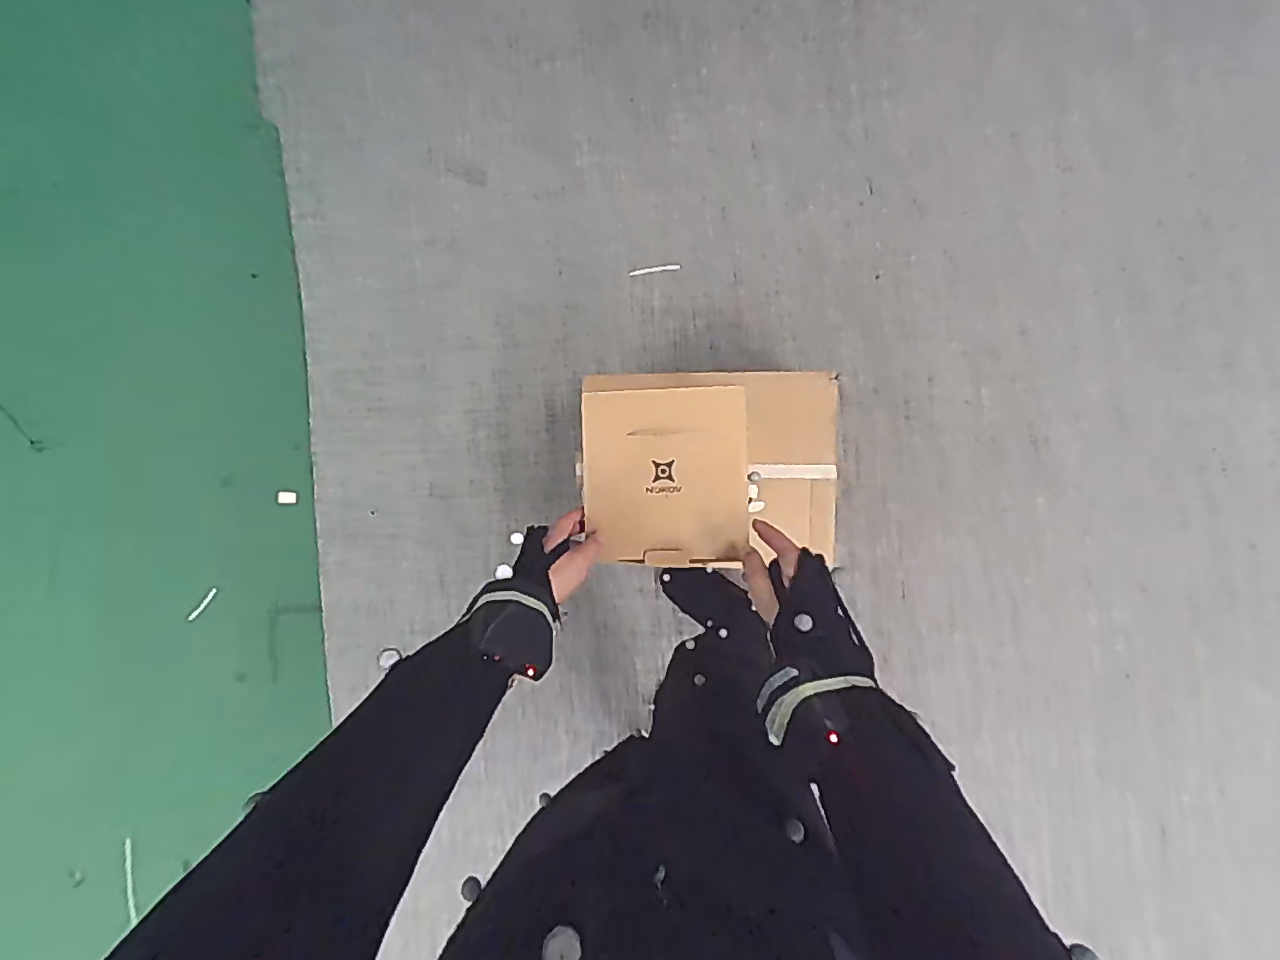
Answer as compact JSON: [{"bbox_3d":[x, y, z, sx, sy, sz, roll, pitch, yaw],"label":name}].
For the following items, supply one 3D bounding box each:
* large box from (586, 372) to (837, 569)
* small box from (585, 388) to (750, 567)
[{"bbox_3d":[0.128,-0.015,1.011,0.408,0.320,0.320,0,92,8],"label":"large box"},{"bbox_3d":[0.038,-0.001,0.617,0.168,0.176,0.179,-2,89,7],"label":"small box"}]
